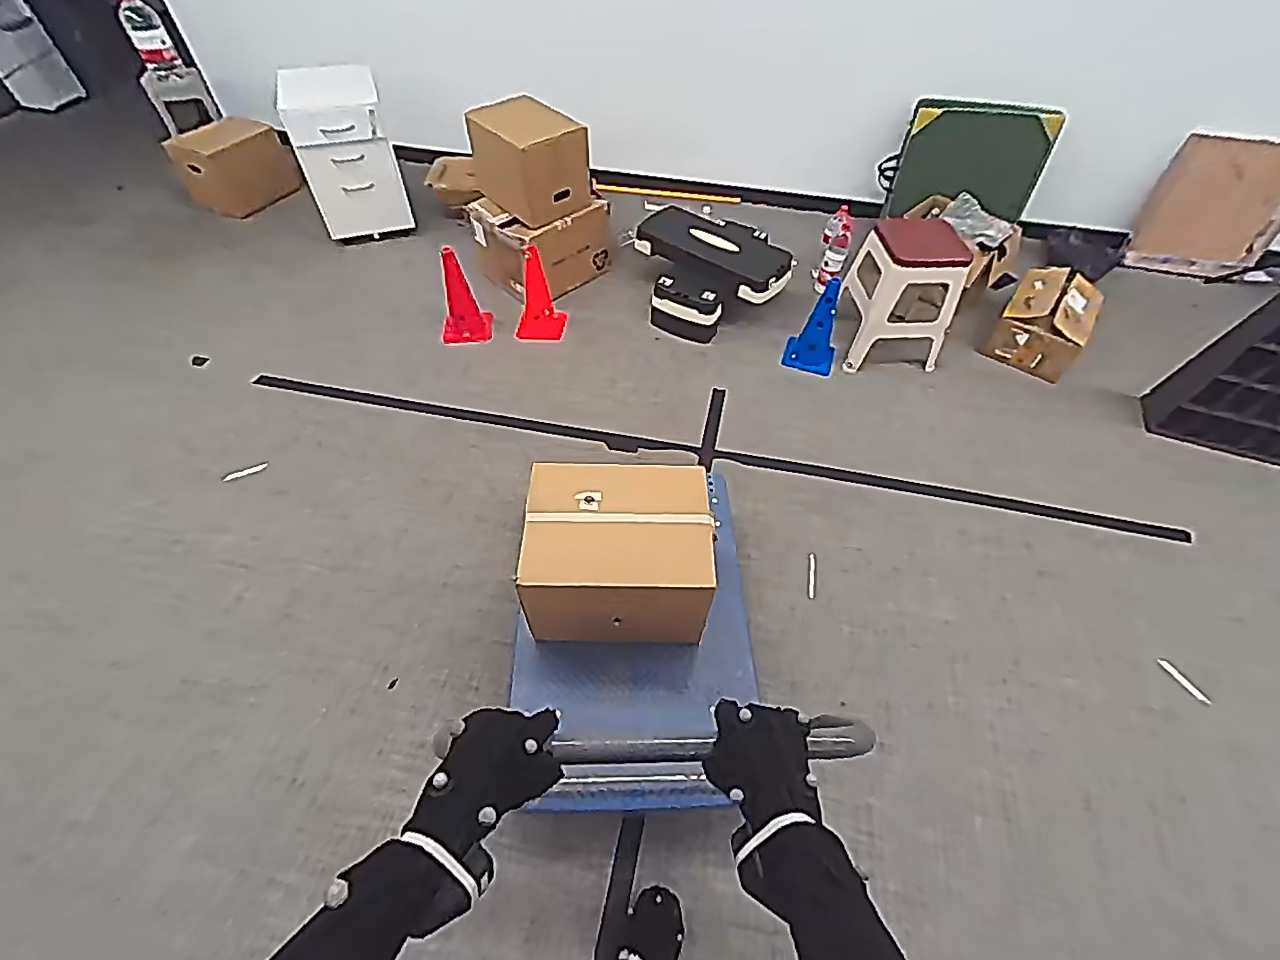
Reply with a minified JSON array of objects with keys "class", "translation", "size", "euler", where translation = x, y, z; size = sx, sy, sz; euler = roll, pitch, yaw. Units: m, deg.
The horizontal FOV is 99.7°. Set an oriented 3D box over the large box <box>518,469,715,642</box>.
[{"class":"large box","translation":[-0.048,0.187,1.292],"size":[0.408,0.320,0.320],"euler":[1,53,-1]}]
